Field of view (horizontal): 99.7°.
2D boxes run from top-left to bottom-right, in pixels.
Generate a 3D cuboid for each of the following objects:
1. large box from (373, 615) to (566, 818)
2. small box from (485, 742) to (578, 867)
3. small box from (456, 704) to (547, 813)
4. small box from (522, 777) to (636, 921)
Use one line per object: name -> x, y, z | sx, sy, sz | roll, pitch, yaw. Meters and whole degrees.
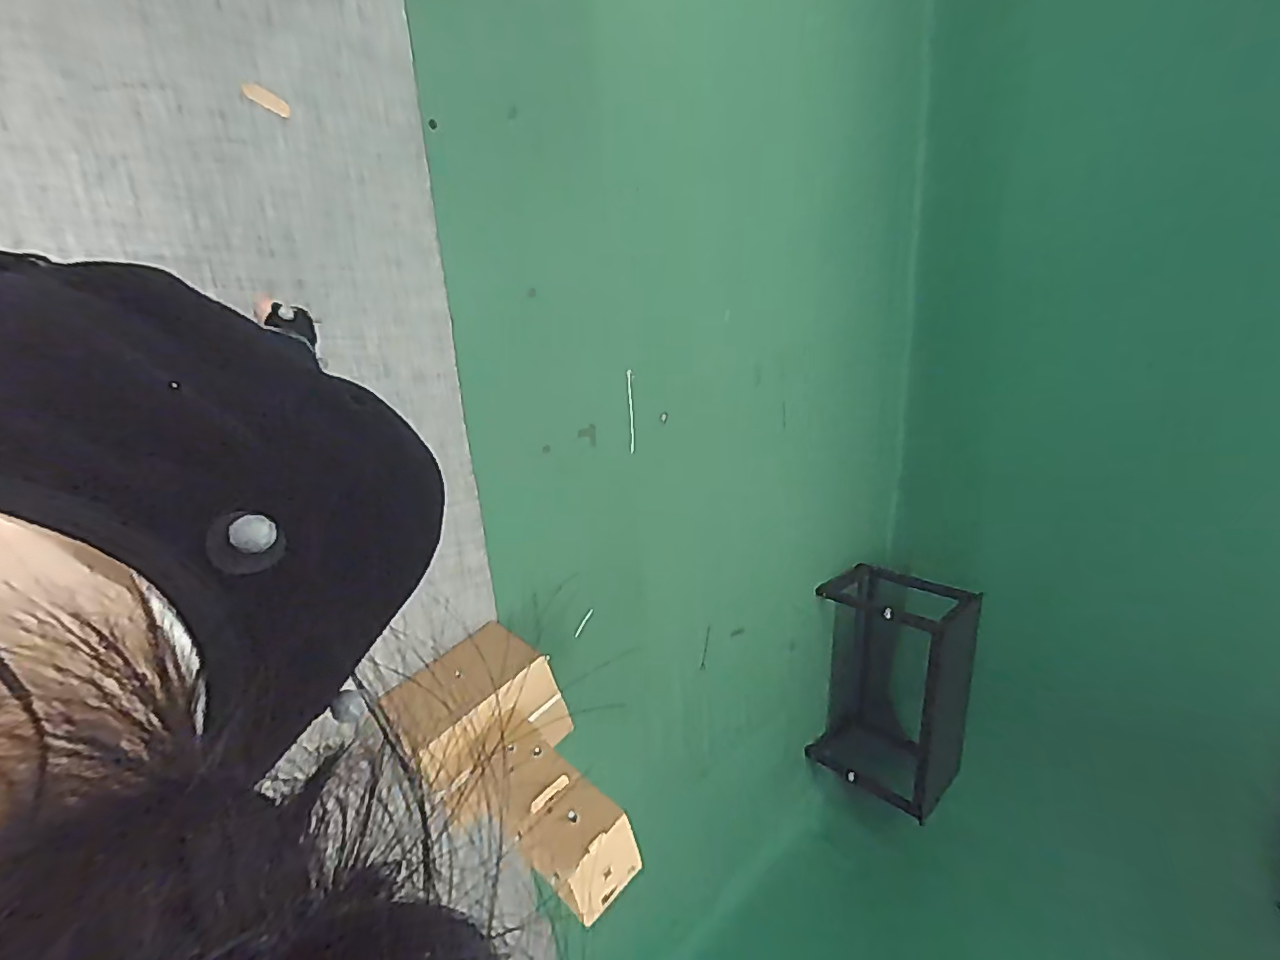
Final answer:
large box -> -0.503, 0.683, 1.627 | 0.408, 0.320, 0.320 | -33, 122, -35
small box -> -0.253, 0.772, 1.315 | 0.168, 0.176, 0.179 | -27, 116, -36
small box -> -0.357, 0.737, 1.437 | 0.179, 0.176, 0.168 | -29, 117, -35
small box -> -0.139, 0.800, 1.200 | 0.168, 0.176, 0.179 | -28, 116, -35
